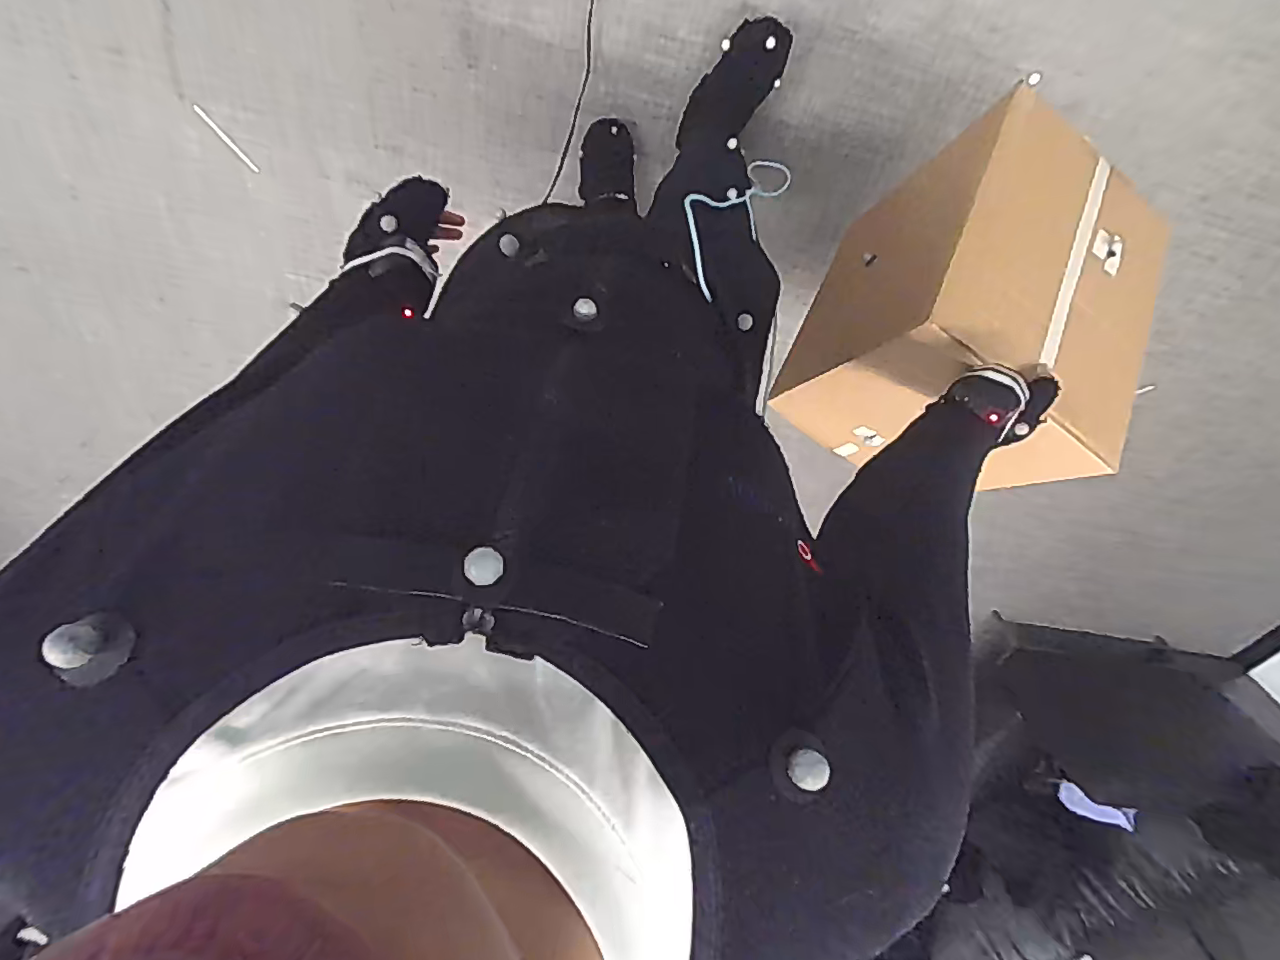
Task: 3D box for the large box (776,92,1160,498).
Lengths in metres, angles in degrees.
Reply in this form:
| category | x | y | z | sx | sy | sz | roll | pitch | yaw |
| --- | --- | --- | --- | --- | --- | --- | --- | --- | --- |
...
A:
| category | x | y | z | sx | sy | sz | roll | pitch | yaw |
| --- | --- | --- | --- | --- | --- | --- | --- | --- | --- |
| large box | 0.467 | -0.231 | 0.805 | 0.320 | 0.408 | 0.320 | 32 | 162 | -14 |
